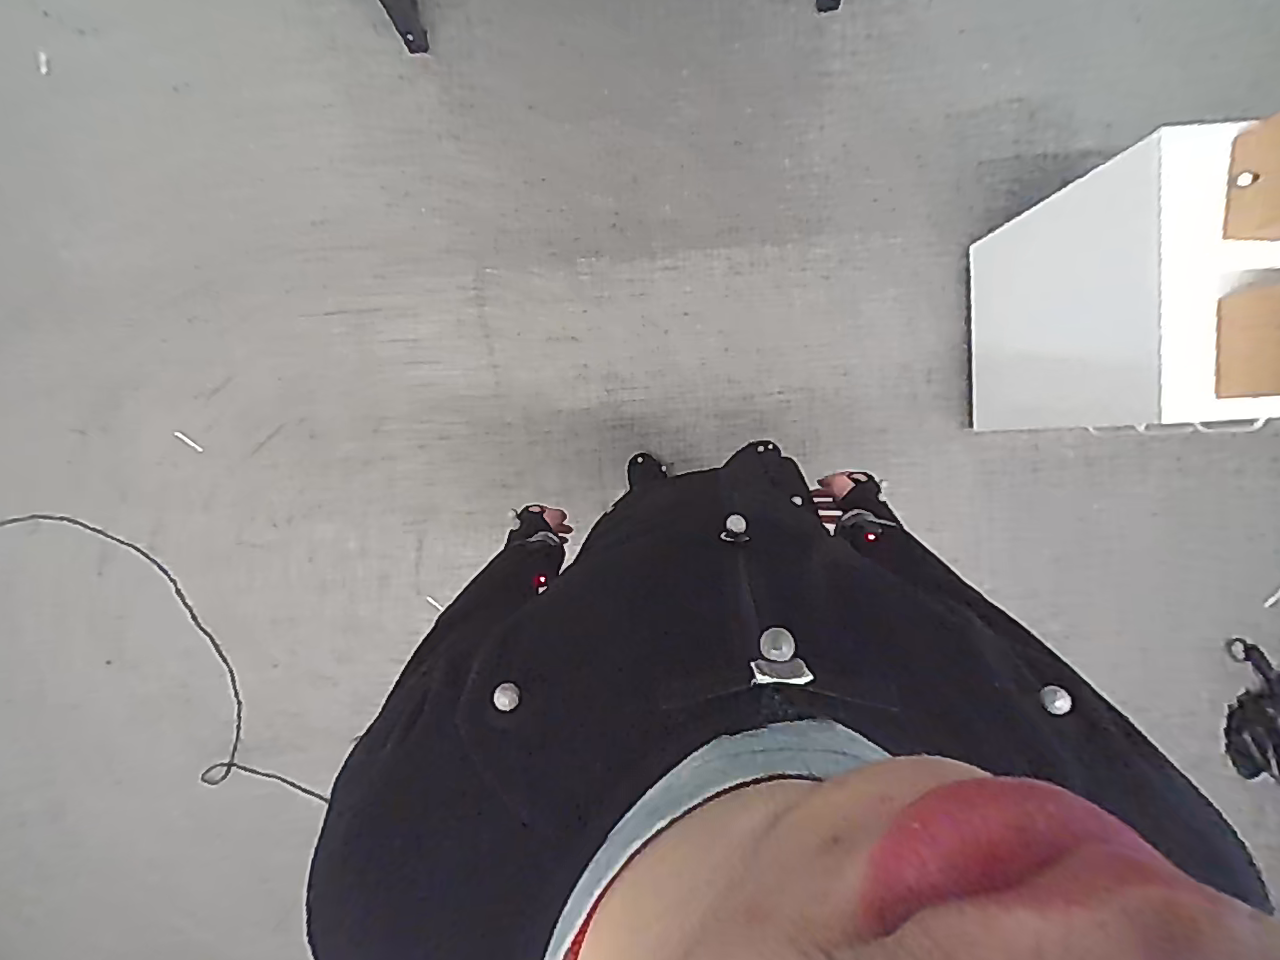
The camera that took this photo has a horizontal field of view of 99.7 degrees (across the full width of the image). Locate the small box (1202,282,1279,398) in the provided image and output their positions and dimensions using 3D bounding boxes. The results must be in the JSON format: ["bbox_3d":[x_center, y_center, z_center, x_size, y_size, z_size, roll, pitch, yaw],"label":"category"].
[{"bbox_3d":[1.084,-0.235,0.885,0.168,0.176,0.179,-4,93,-1],"label":"small box"}]
